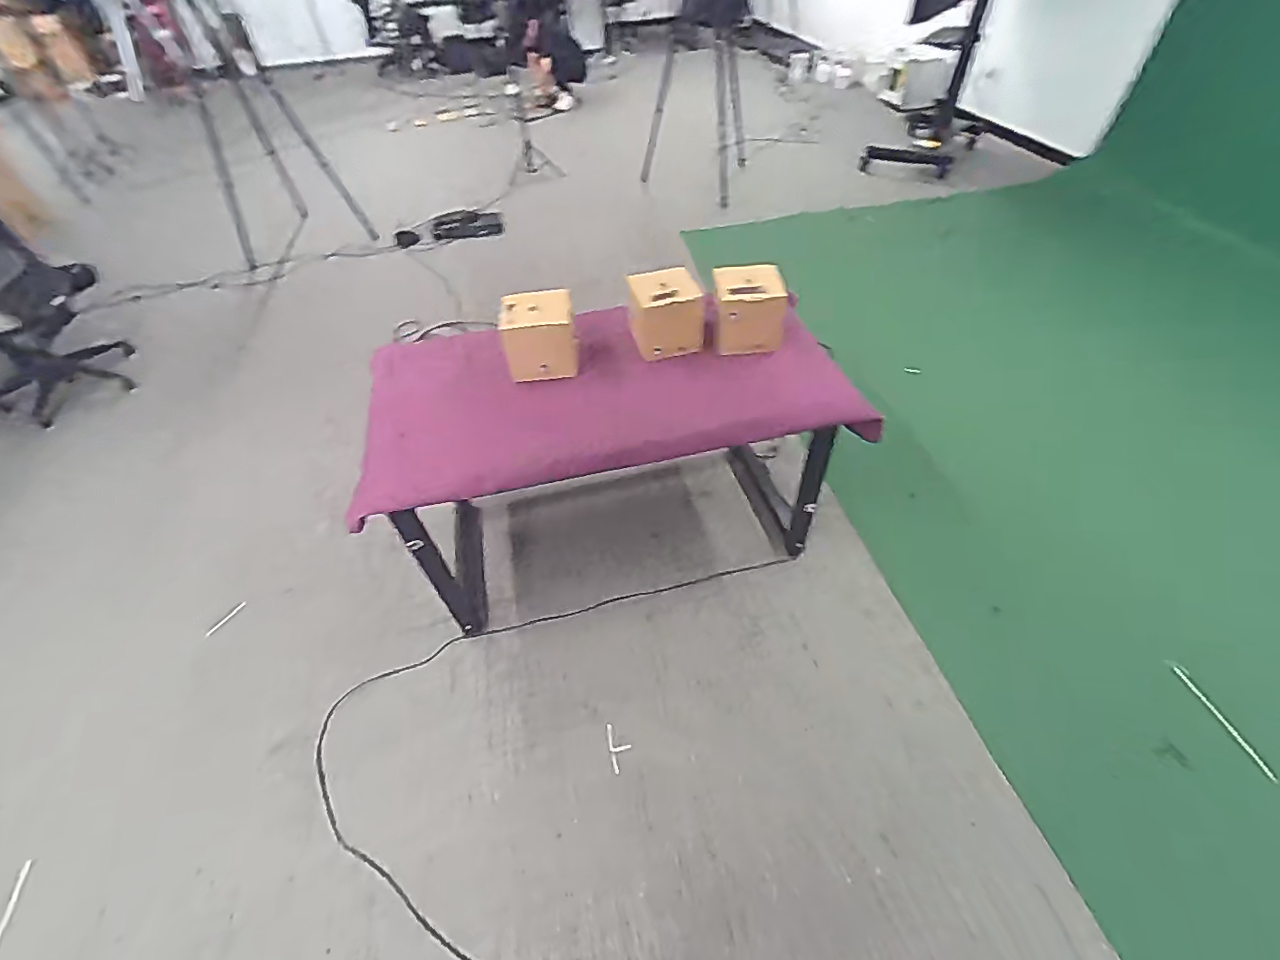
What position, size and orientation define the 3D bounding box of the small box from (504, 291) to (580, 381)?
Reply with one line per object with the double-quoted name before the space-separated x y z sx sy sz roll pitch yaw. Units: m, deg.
"small box" -0.254 -0.384 1.451 0.179 0.176 0.168 -5 48 -1
